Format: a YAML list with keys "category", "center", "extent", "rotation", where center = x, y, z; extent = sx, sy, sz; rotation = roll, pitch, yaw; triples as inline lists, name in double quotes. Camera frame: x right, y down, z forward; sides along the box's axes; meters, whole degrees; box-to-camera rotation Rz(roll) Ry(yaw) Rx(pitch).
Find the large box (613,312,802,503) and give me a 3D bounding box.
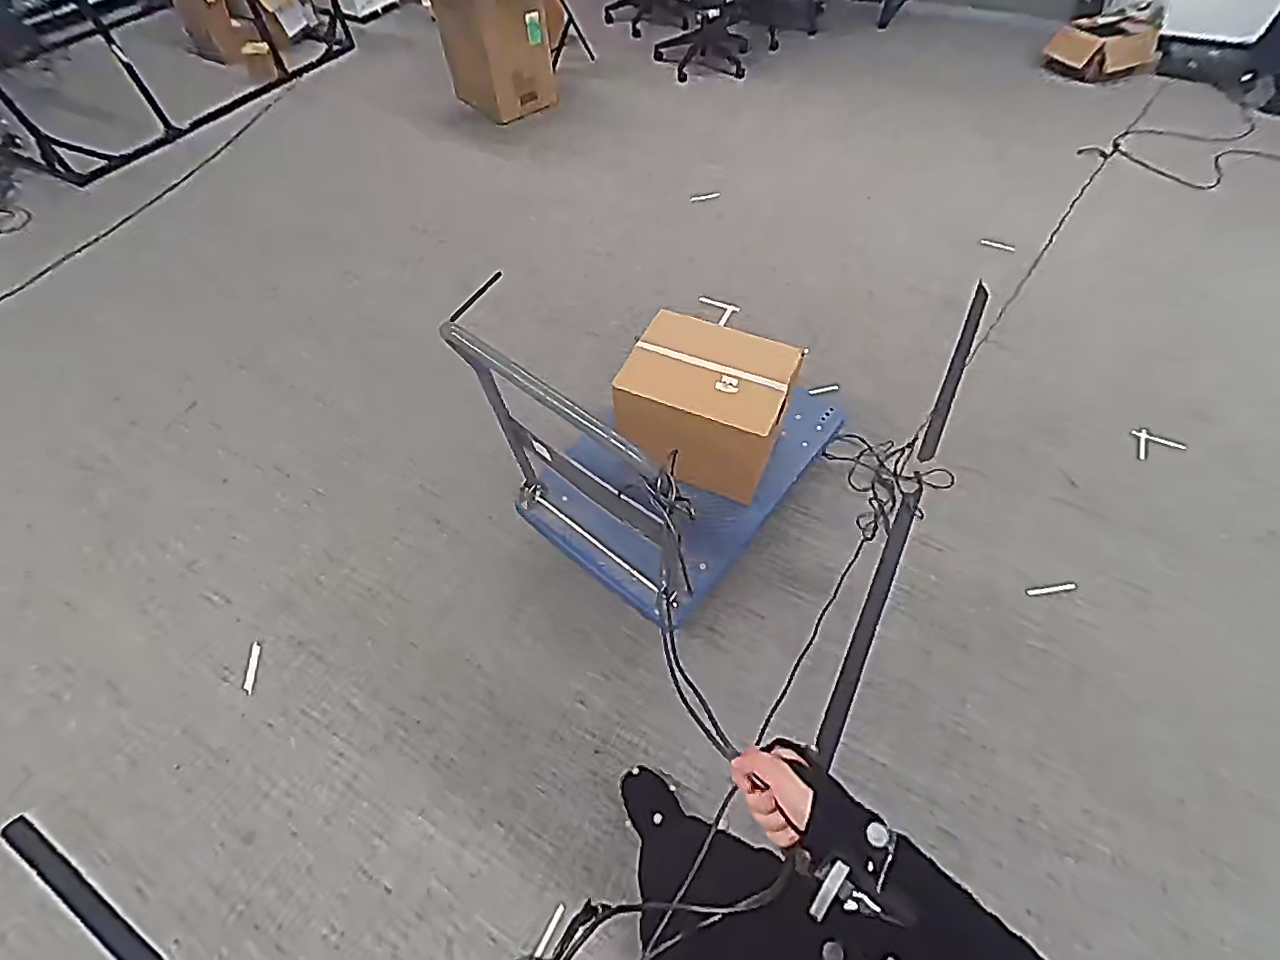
- category: "large box"
  center: [0.173, -0.194, 1.471]
  extent: [0.408, 0.320, 0.320]
  rotation: [21, 61, 14]
